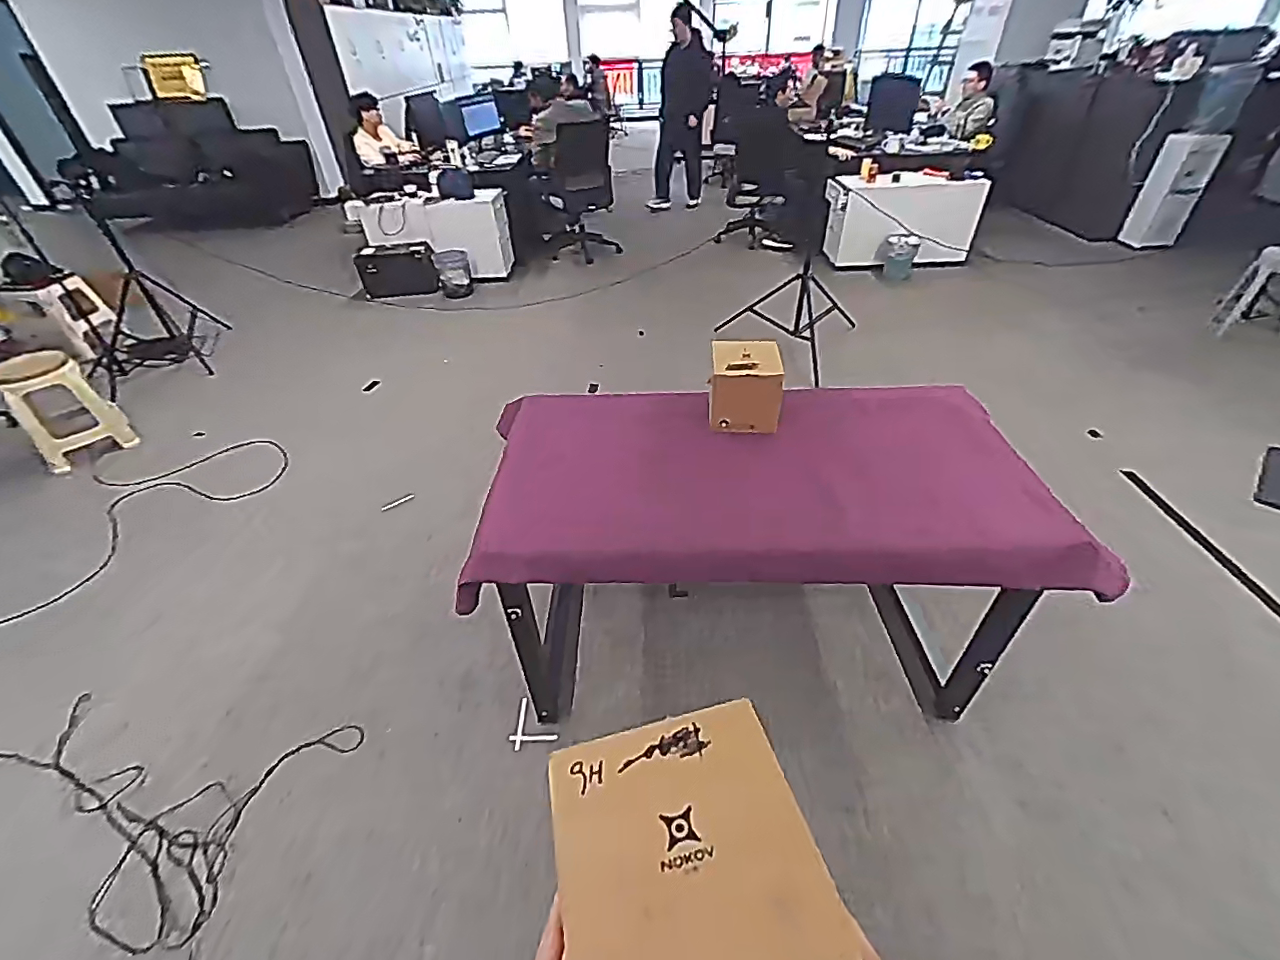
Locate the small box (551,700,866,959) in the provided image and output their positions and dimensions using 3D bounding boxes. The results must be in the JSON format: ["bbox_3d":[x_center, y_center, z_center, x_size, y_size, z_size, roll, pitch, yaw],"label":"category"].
[{"bbox_3d":[0.039,0.306,0.404,0.168,0.176,0.179,-13,37,-9],"label":"small box"}]

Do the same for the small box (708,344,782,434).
[{"bbox_3d":[0.262,-0.230,1.378,0.168,0.176,0.179,1,40,5],"label":"small box"}]
